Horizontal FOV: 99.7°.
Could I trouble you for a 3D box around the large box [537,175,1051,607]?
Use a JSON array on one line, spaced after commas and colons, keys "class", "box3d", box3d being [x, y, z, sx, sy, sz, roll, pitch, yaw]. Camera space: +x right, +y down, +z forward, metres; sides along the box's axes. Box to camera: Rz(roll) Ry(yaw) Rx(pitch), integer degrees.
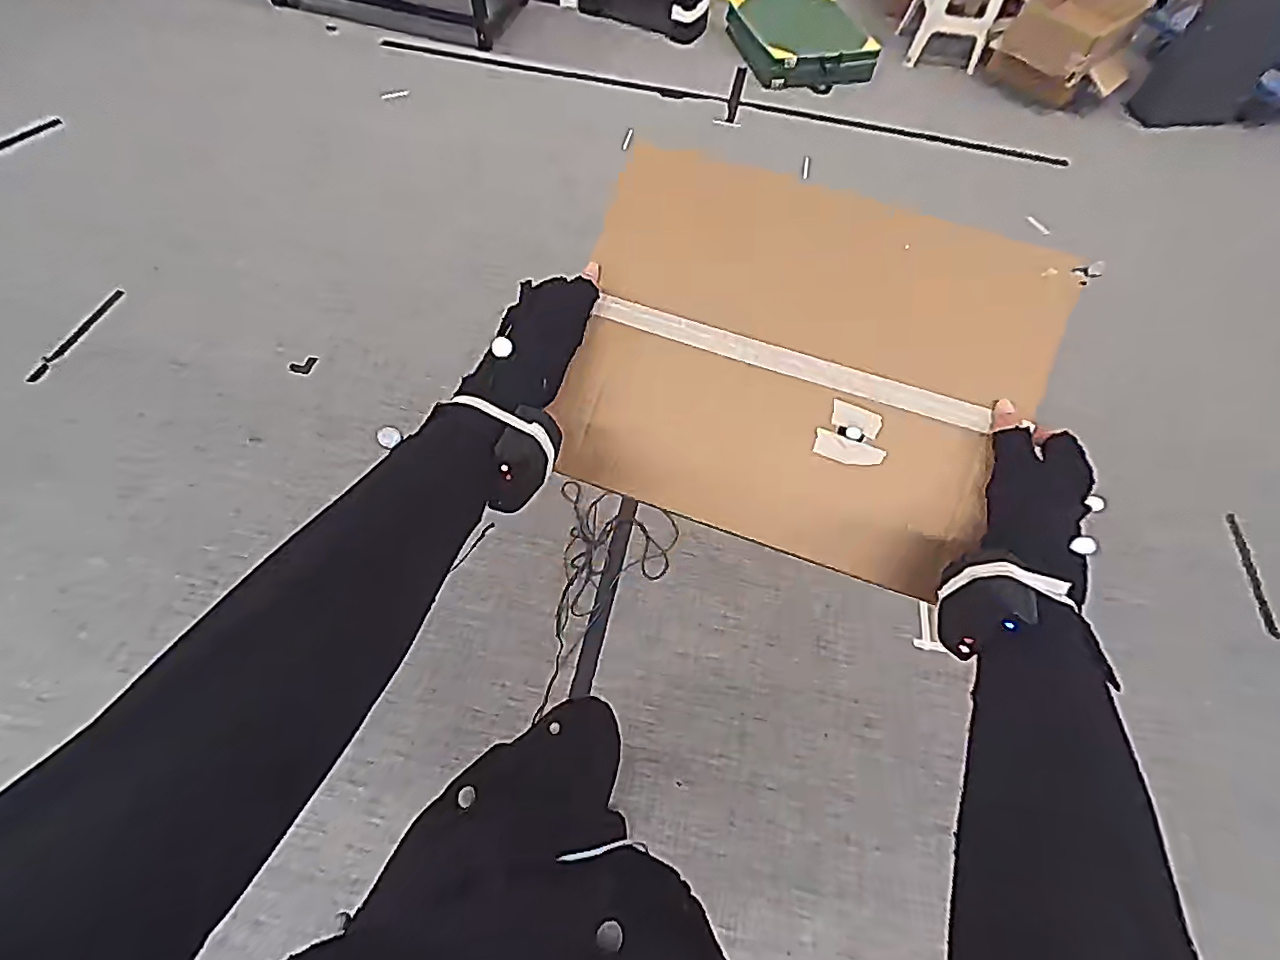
[{"class": "large box", "box3d": [0.144, -0.083, 0.643, 0.408, 0.320, 0.320, 19, 90, 6]}]
